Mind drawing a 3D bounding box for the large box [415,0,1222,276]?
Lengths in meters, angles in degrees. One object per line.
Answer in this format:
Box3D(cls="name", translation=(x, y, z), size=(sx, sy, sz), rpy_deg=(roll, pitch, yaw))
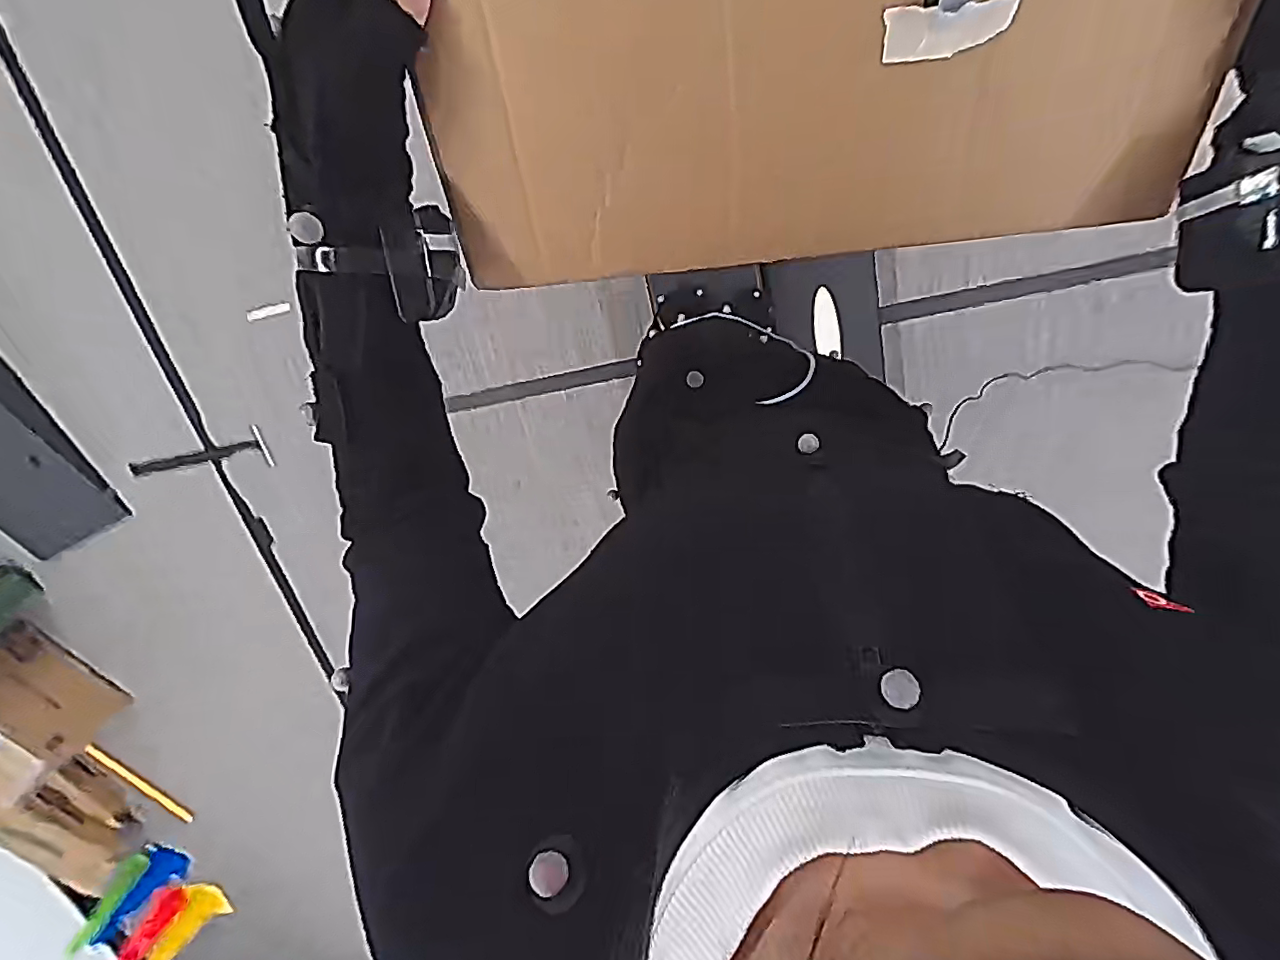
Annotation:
Box3D(cls="large box", translation=(0.086, -0.359, 0.370), size=(0.408, 0.320, 0.320), rpy_deg=(-3, 127, 7))
